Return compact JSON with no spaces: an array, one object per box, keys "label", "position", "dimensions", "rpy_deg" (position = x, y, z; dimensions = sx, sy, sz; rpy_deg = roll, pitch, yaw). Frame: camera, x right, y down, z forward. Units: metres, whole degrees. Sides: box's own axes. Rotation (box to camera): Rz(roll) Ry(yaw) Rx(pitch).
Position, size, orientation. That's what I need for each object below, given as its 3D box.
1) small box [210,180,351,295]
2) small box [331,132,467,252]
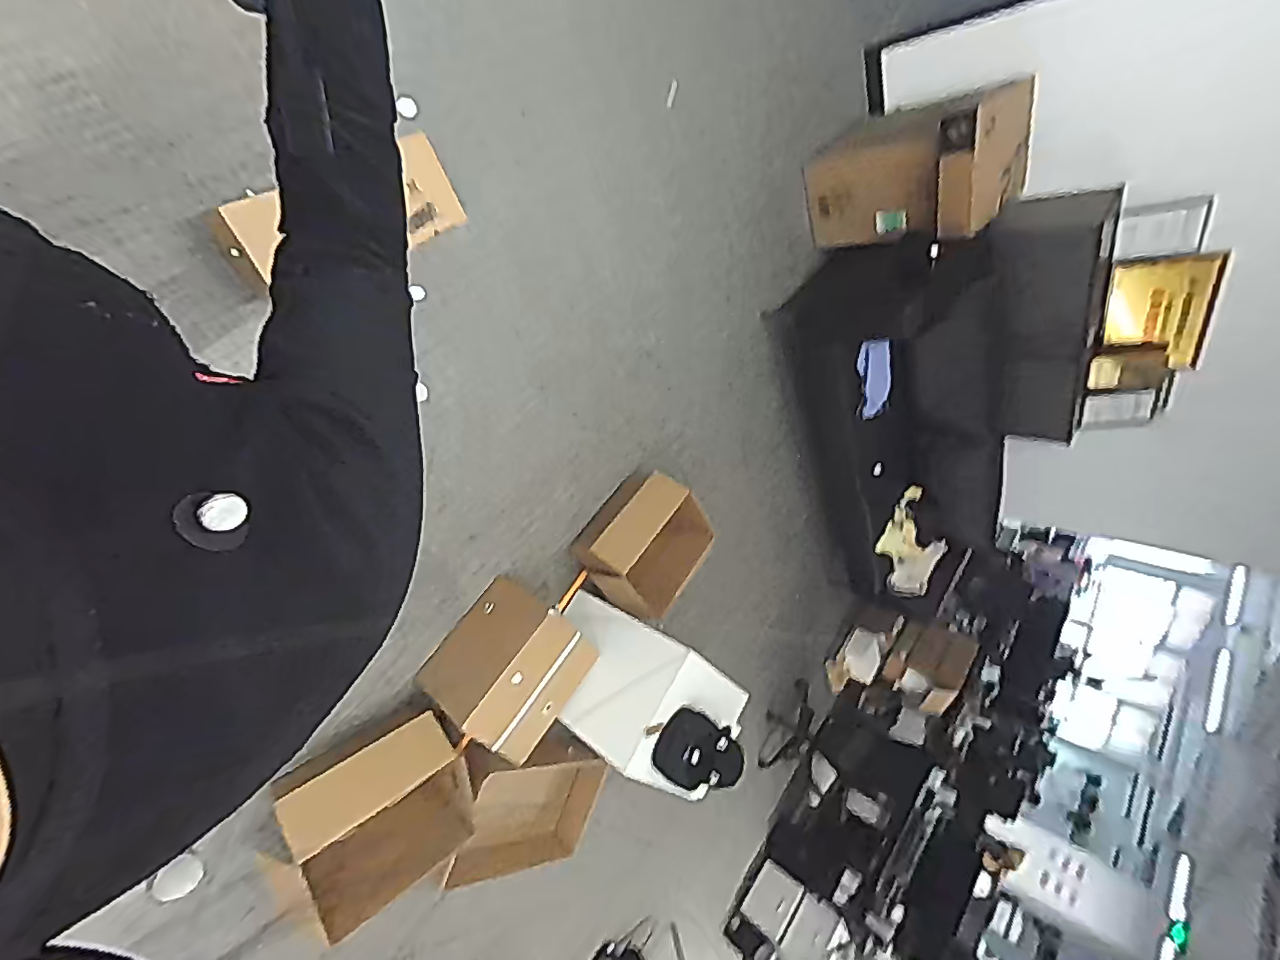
[{"label":"small box","position":[-0.760,-0.505,1.142],"dimensions":[0.168,0.176,0.179],"rpy_deg":[-41,129,-30]},{"label":"small box","position":[-0.506,-0.597,1.138],"dimensions":[0.168,0.176,0.179],"rpy_deg":[-45,130,-28]}]
